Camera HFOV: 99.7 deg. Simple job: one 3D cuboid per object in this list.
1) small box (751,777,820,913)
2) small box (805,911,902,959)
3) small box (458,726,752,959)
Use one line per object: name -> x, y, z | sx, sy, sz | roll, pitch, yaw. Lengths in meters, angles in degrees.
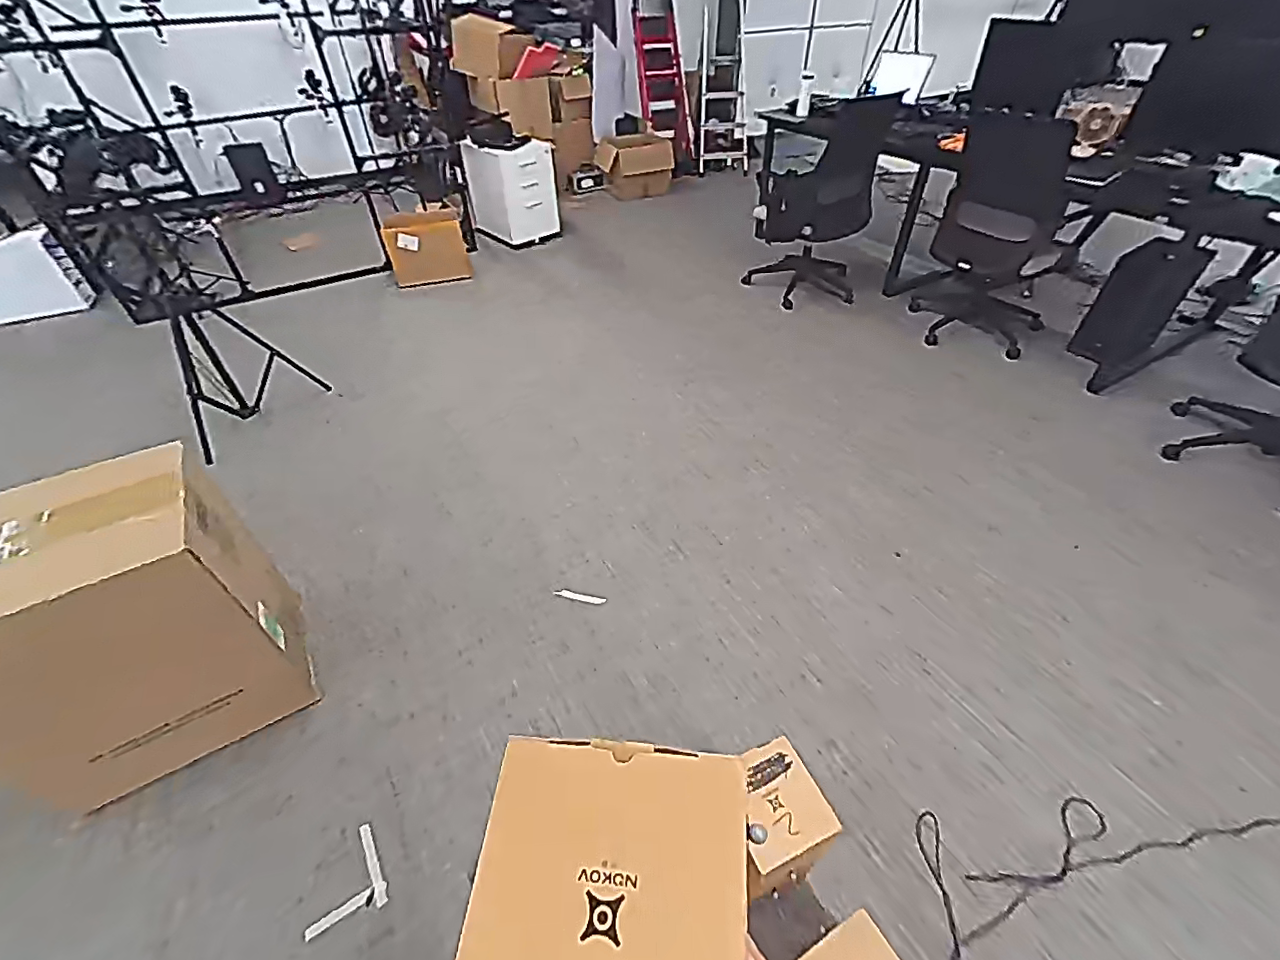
small box -> 0.234, 0.751, 1.104 | 0.179, 0.176, 0.168 | -18, 44, -16
small box -> 0.371, 0.900, 0.932 | 0.179, 0.176, 0.168 | -21, 44, -20
small box -> -0.008, 0.290, 0.373 | 0.168, 0.176, 0.179 | 1, 51, 8
